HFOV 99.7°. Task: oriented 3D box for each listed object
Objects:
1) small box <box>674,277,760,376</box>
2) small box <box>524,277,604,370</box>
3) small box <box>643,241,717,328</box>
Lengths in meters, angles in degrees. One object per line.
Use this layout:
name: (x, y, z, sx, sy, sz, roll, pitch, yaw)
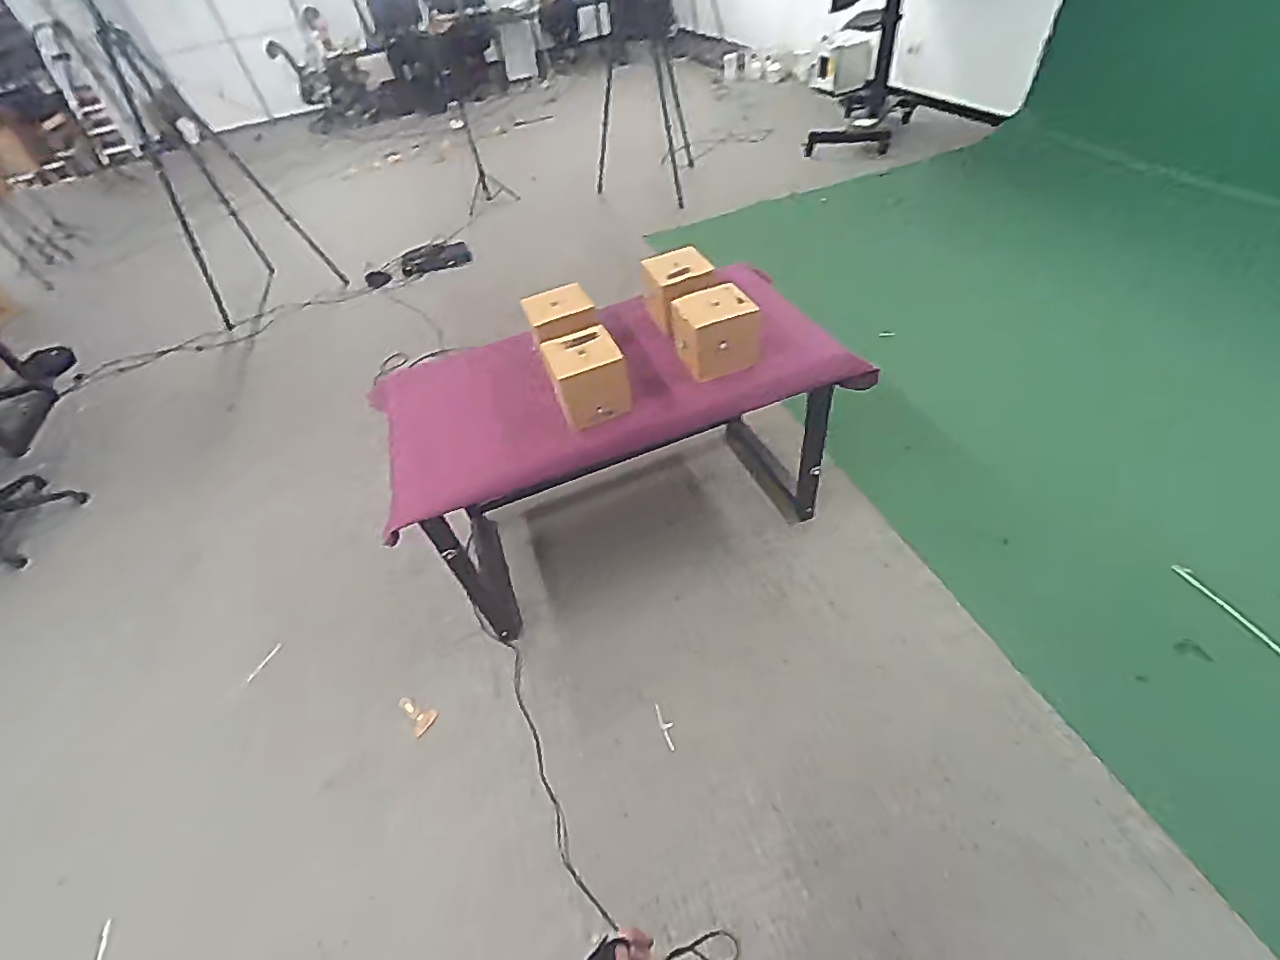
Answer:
small box: (0.204, -0.399, 1.419, 0.179, 0.176, 0.168, -19, 47, -6)
small box: (-0.211, -0.443, 1.539, 0.179, 0.176, 0.168, -22, 48, -8)
small box: (0.124, -0.567, 1.587, 0.168, 0.176, 0.179, -20, 47, -7)
